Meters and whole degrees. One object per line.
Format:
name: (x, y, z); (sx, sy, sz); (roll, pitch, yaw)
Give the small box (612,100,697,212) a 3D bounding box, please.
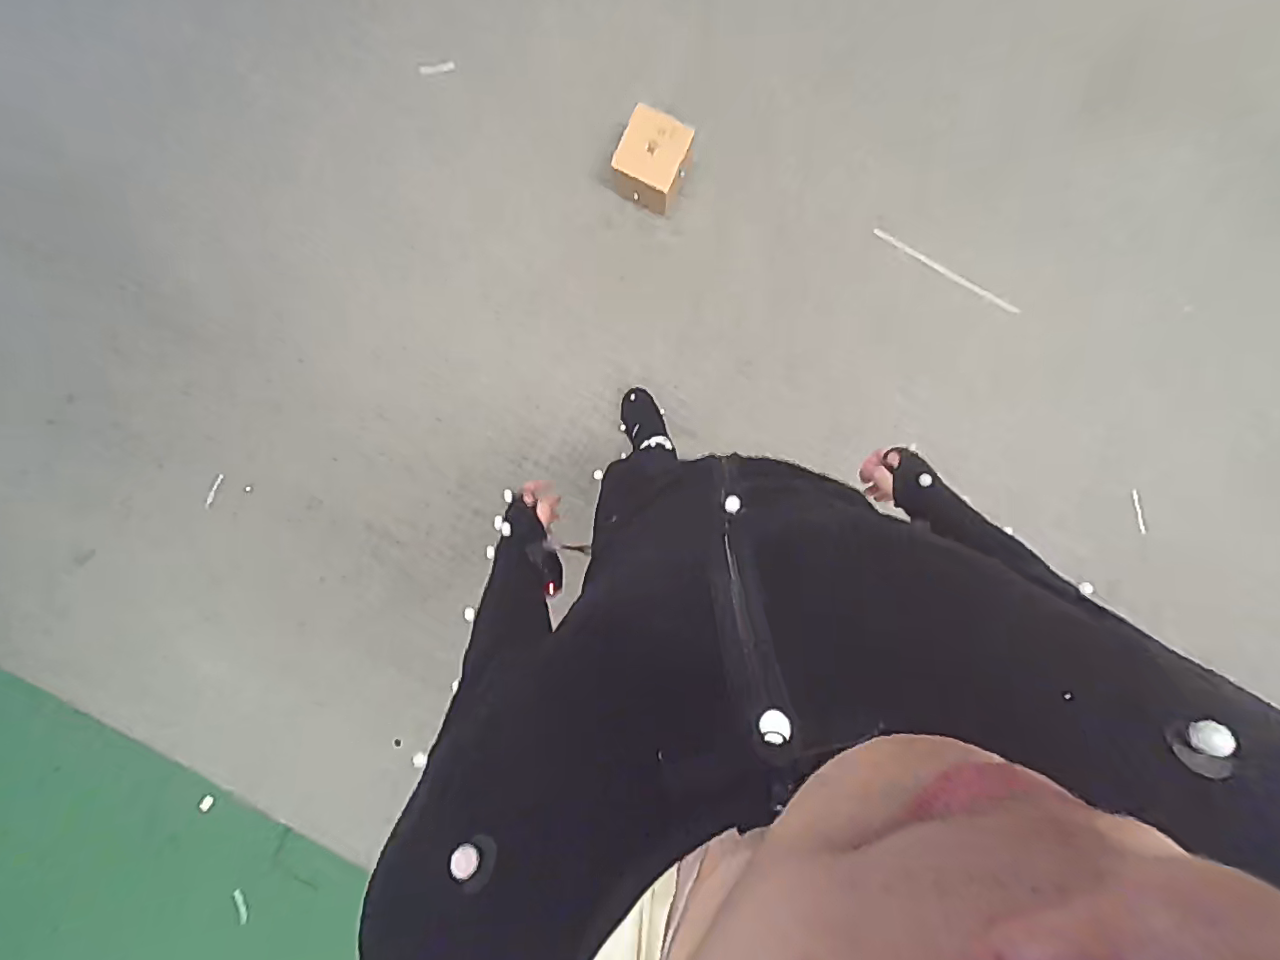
small box: (0.040, -0.860, 1.458); (0.168, 0.176, 0.179); (26, 96, -1)
